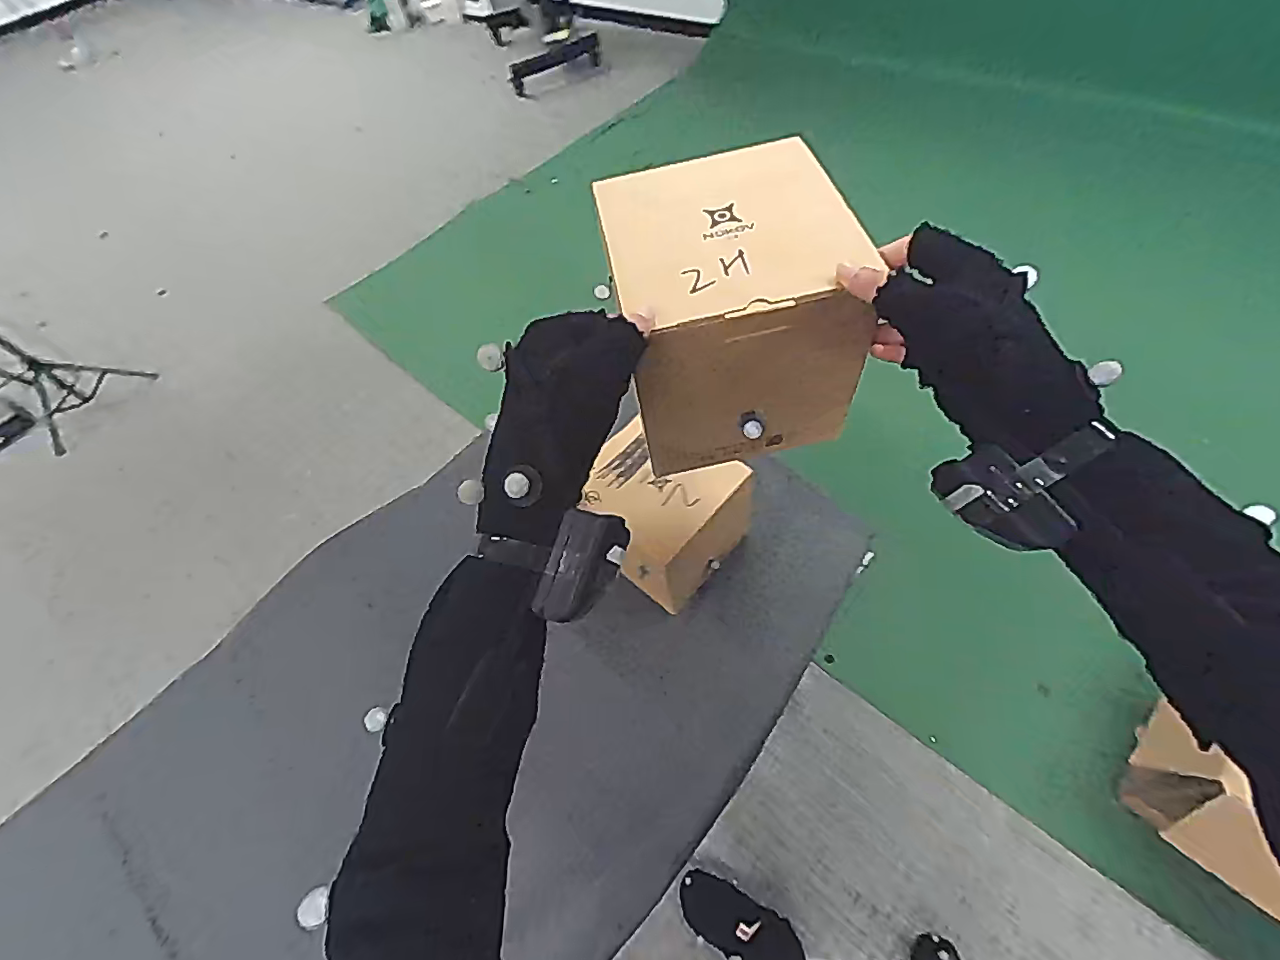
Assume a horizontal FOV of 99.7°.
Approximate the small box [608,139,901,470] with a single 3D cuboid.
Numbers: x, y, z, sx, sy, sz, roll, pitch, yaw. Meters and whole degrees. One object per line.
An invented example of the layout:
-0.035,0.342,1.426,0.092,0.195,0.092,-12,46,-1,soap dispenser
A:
0.075,-0.134,0.439,0.168,0.176,0.179,-11,59,1,small box
